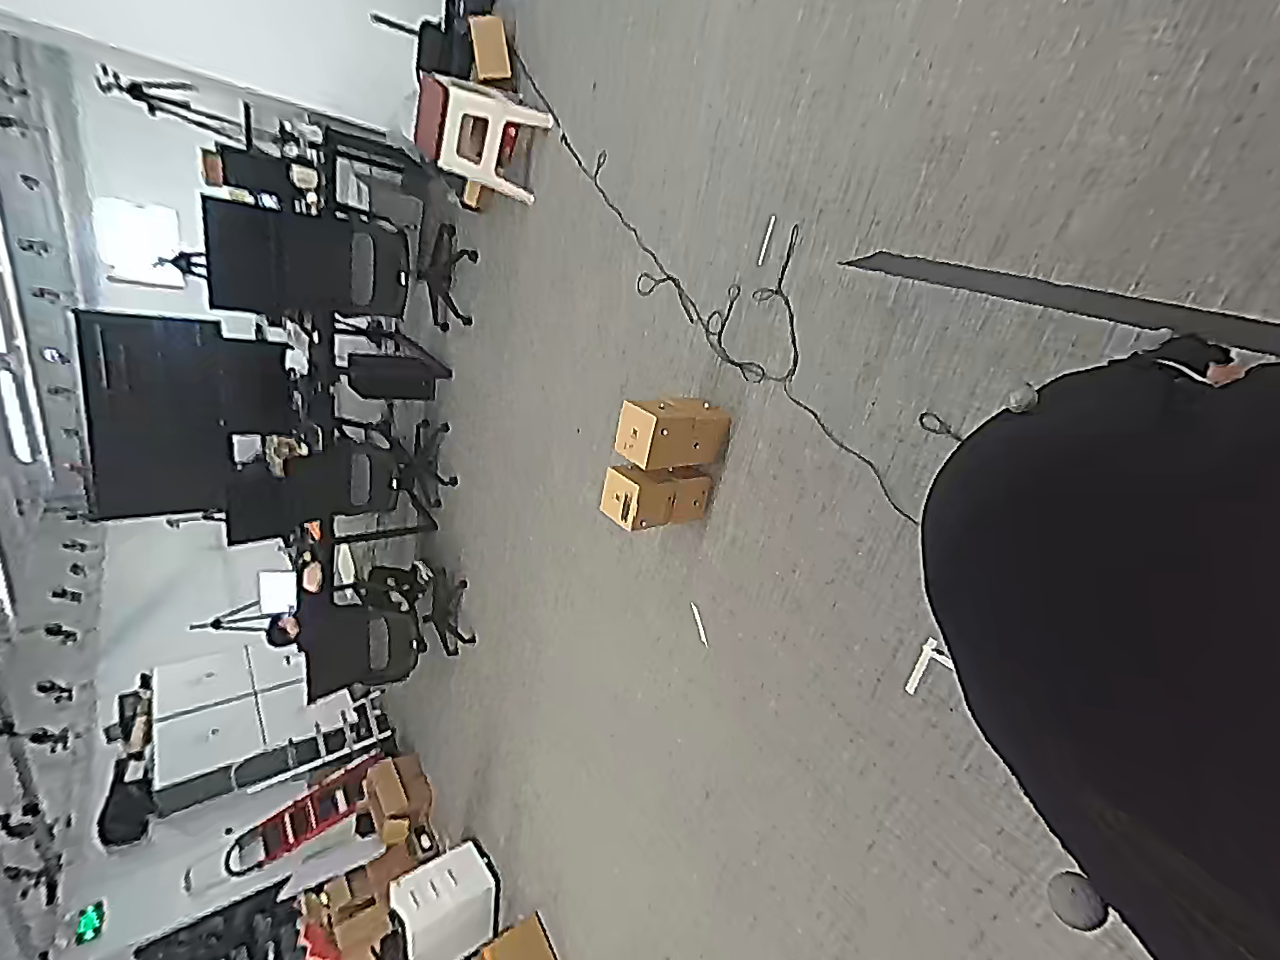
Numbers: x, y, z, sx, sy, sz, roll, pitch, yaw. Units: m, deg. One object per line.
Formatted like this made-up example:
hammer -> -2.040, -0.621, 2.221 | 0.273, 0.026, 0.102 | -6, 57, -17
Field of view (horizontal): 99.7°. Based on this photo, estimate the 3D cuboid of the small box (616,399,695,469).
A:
small box -> 0.052, -0.152, 1.721 | 0.168, 0.176, 0.179 | 35, 122, 42

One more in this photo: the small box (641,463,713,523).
small box -> 0.131, 0.039, 1.918 | 0.179, 0.176, 0.168 | 27, 115, 44

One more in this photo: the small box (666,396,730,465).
small box -> 0.178, -0.170, 1.826 | 0.168, 0.176, 0.179 | 41, 125, 38
